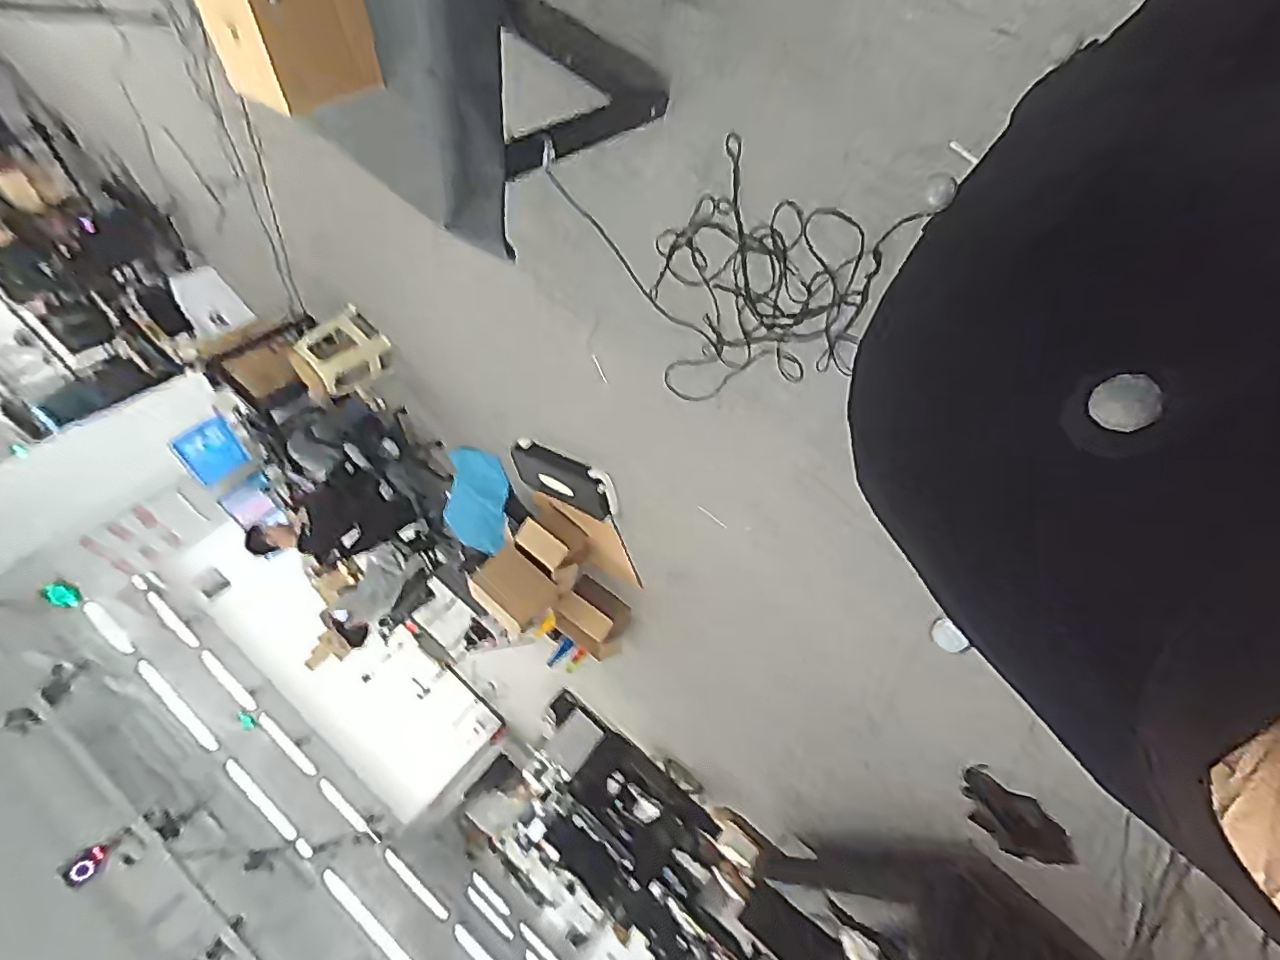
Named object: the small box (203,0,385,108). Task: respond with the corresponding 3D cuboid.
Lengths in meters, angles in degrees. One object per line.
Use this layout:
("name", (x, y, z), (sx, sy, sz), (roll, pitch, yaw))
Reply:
("small box", (-0.510, -0.685, 0.794), (0.168, 0.176, 0.179), (33, 145, 21))
